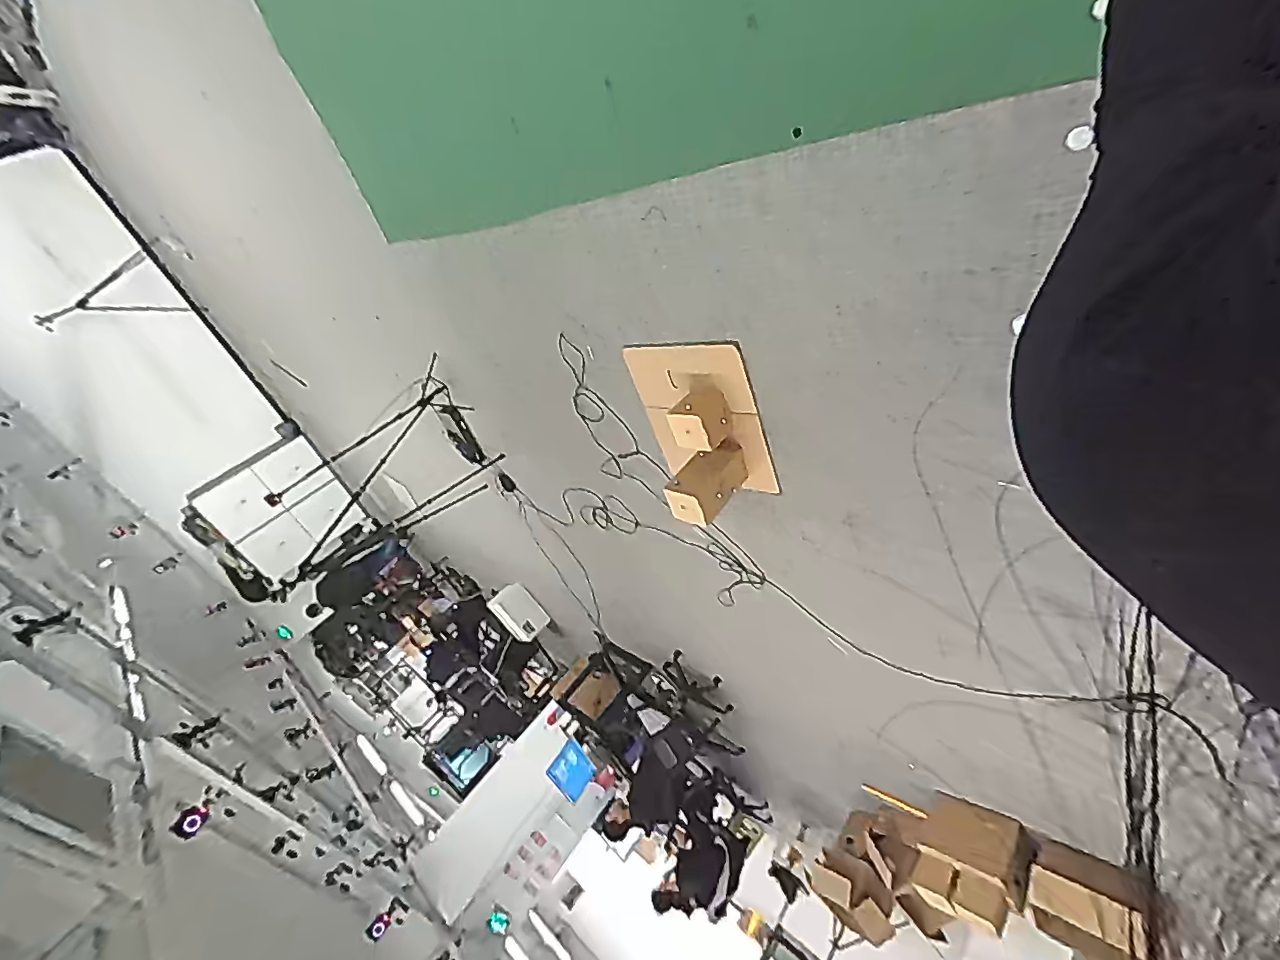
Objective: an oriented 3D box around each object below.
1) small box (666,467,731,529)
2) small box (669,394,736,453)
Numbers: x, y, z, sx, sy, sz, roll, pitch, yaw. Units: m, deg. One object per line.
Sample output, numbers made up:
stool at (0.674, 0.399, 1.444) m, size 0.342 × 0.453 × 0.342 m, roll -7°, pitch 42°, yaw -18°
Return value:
small box at (0.241, 0.066, 2.189) m, size 0.179 × 0.176 × 0.168 m, roll 14°, pitch 139°, yaw 42°
small box at (0.252, -0.229, 2.151) m, size 0.179 × 0.176 × 0.168 m, roll 9°, pitch 134°, yaw 45°
